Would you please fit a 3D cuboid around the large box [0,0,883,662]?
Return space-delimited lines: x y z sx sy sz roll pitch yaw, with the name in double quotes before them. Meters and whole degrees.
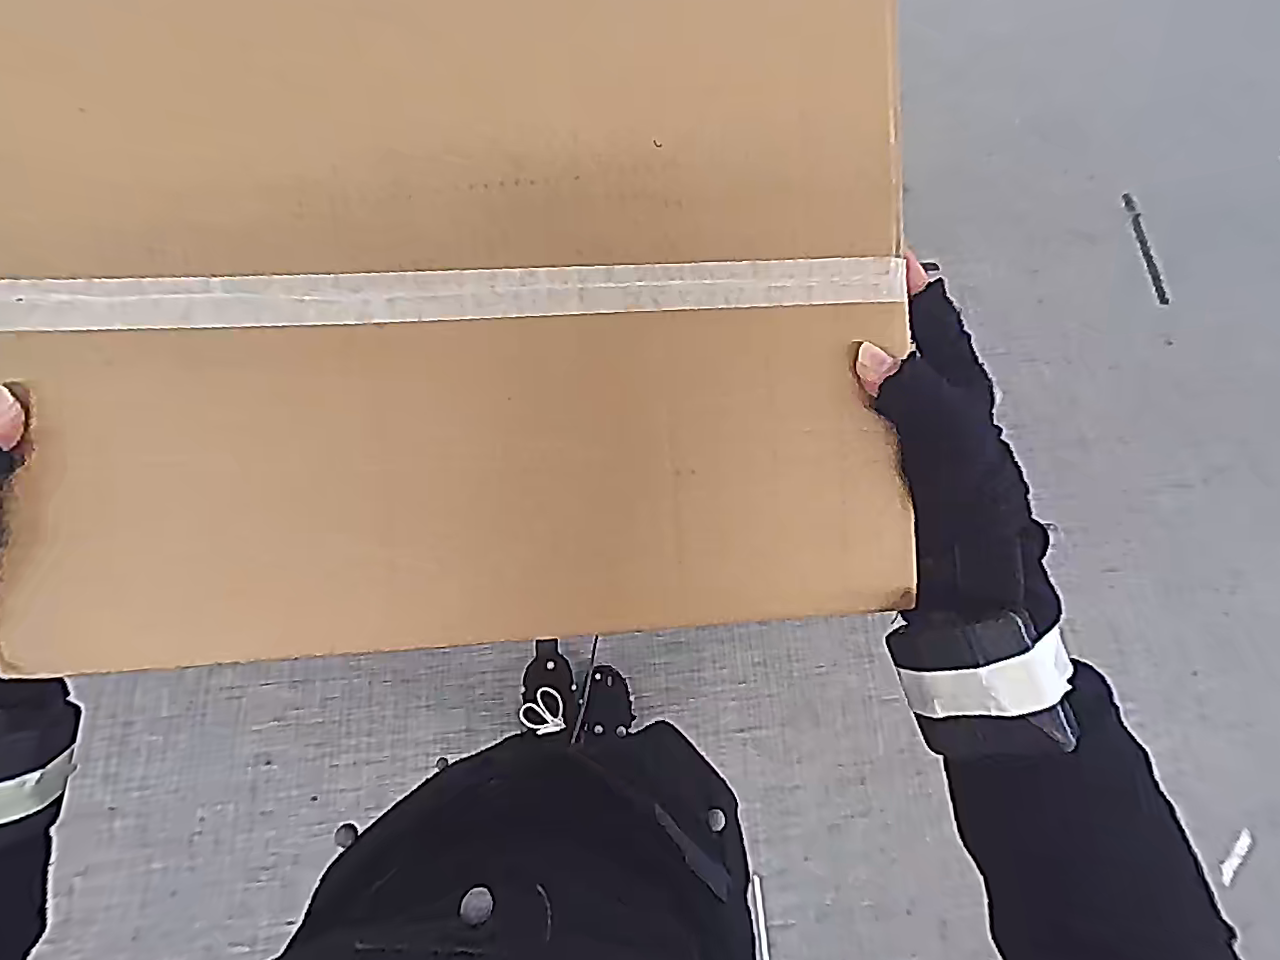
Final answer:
"large box" -0.091 -0.089 0.401 0.408 0.320 0.320 -3 92 -5
